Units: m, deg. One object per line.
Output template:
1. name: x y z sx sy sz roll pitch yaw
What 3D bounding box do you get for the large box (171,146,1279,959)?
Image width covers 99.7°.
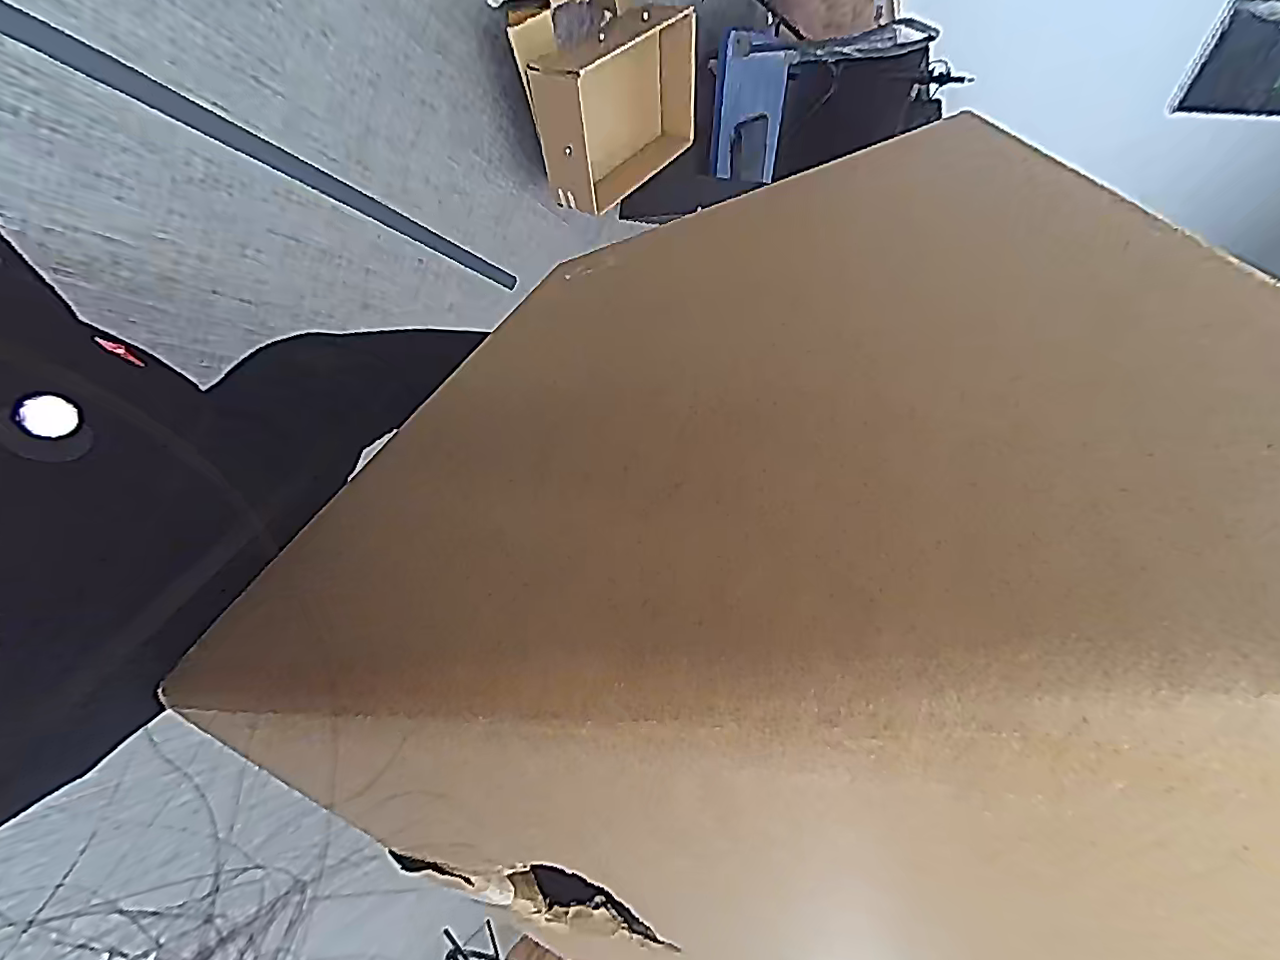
1. large box: 0.076 0.037 0.344 0.408 0.320 0.320 -70 143 -48
